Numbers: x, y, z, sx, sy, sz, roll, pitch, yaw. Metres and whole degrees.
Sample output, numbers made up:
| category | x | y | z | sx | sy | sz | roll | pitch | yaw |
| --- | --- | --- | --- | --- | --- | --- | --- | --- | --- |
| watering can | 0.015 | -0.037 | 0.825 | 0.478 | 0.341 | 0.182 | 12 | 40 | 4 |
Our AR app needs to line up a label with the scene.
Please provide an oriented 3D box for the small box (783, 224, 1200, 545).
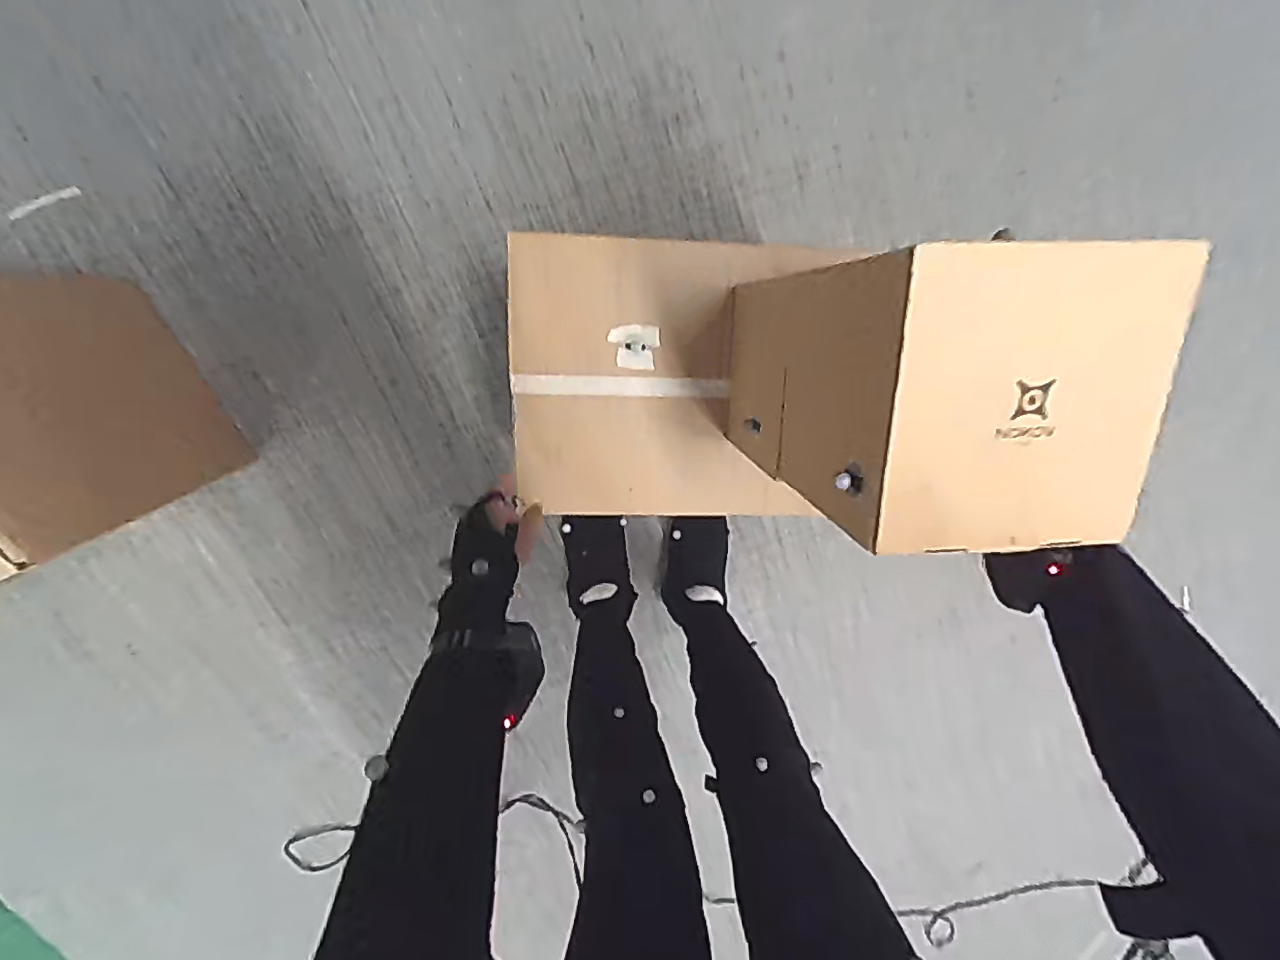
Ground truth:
| category | x | y | z | sx | sy | sz | roll | pitch | yaw |
| --- | --- | --- | --- | --- | --- | --- | --- | --- | --- |
| small box | 0.209 | -0.071 | 0.379 | 0.168 | 0.176 | 0.179 | -3 | 108 | -5 |
